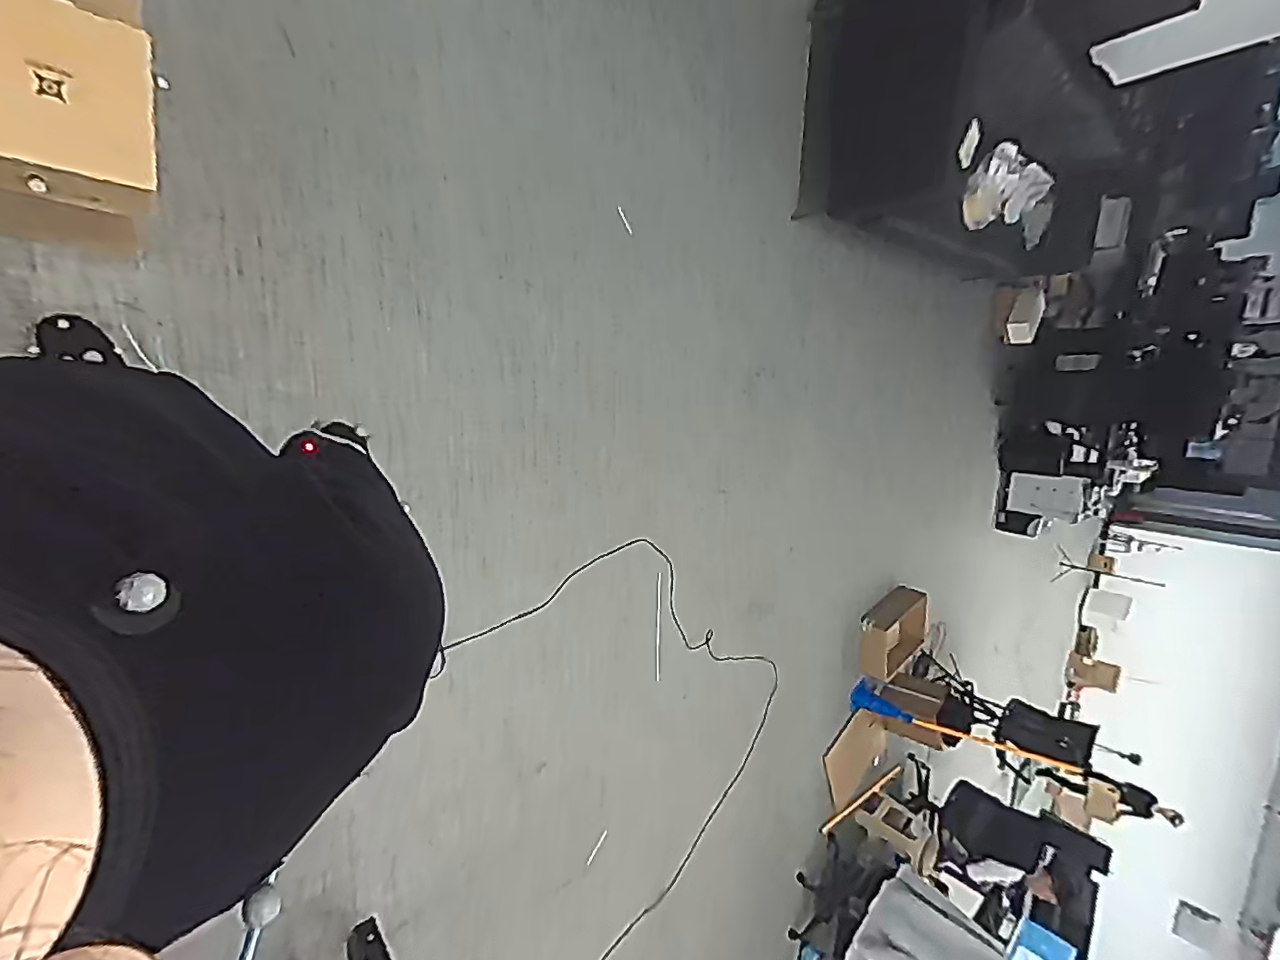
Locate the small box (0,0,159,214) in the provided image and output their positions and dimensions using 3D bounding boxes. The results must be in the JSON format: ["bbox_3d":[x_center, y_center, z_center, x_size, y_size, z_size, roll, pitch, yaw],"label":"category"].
[{"bbox_3d":[-0.682,-0.436,0.638,0.168,0.176,0.179,-4,101,-42],"label":"small box"}]
